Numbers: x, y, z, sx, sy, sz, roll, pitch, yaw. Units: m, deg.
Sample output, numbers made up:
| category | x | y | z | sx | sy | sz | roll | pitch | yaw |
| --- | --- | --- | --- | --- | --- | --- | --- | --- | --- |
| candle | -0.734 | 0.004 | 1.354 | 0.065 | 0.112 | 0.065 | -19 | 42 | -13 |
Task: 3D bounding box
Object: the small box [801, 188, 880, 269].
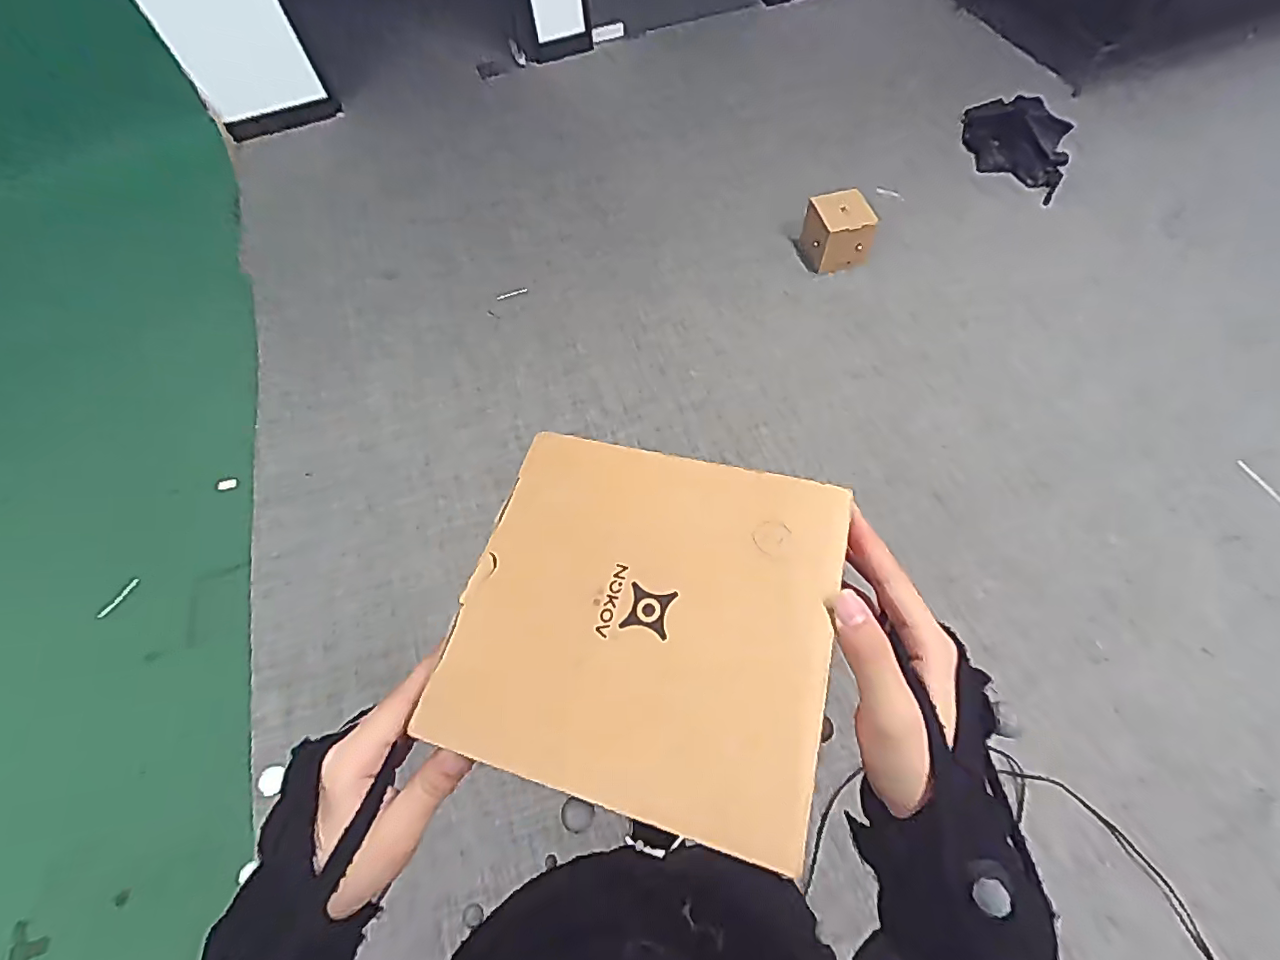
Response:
| category | x | y | z | sx | sy | sz | roll | pitch | yaw |
| --- | --- | --- | --- | --- | --- | --- | --- | --- | --- |
| small box | 0.651 | -0.816 | 1.776 | 0.168 | 0.176 | 0.179 | -13 | 62 | -4 |
